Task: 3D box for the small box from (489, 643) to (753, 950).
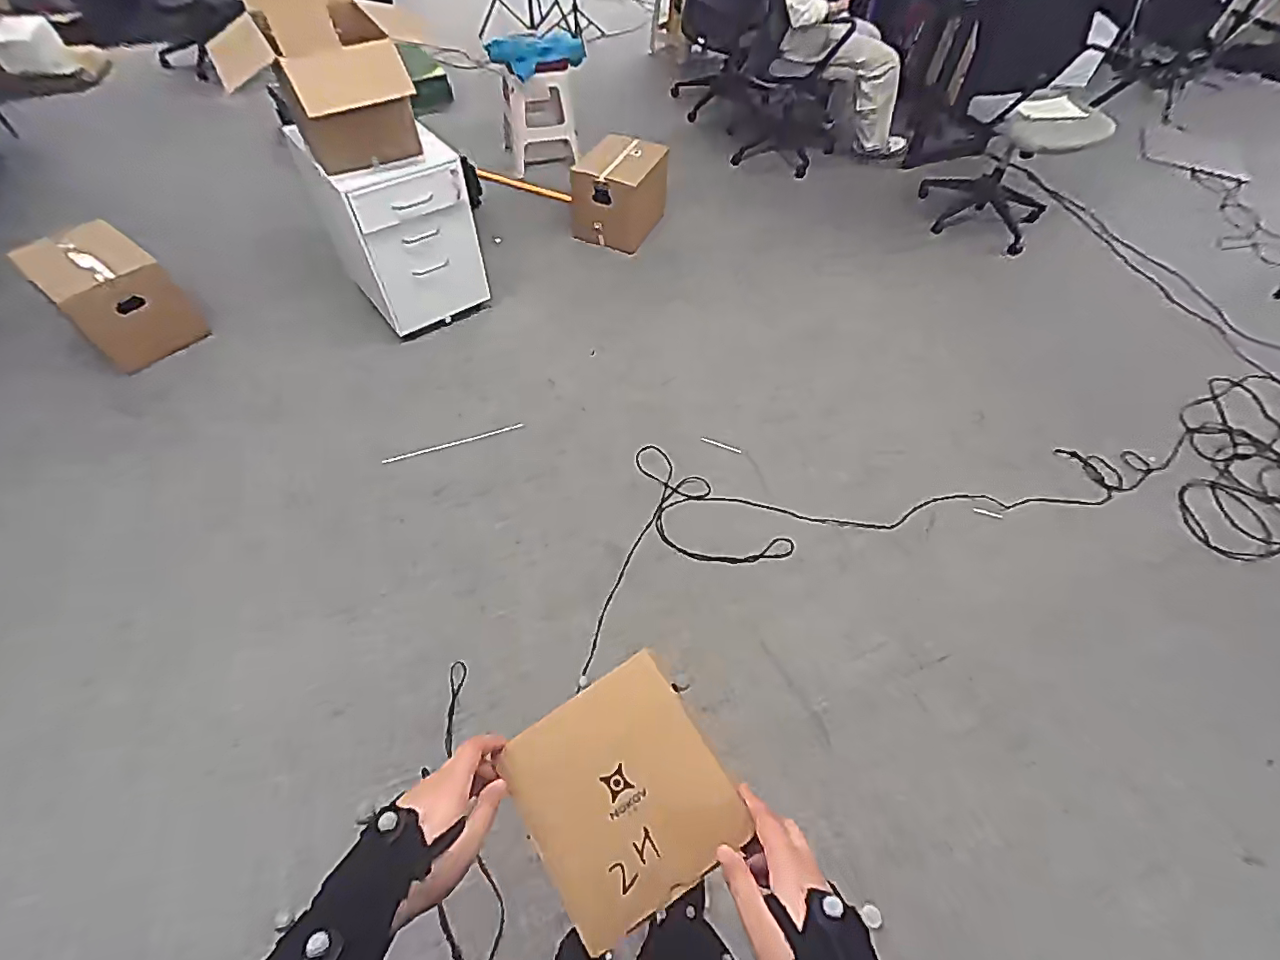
[{"bbox_3d":[-0.014,0.284,0.532,0.168,0.176,0.179,-35,73,-6],"label":"small box"}]
